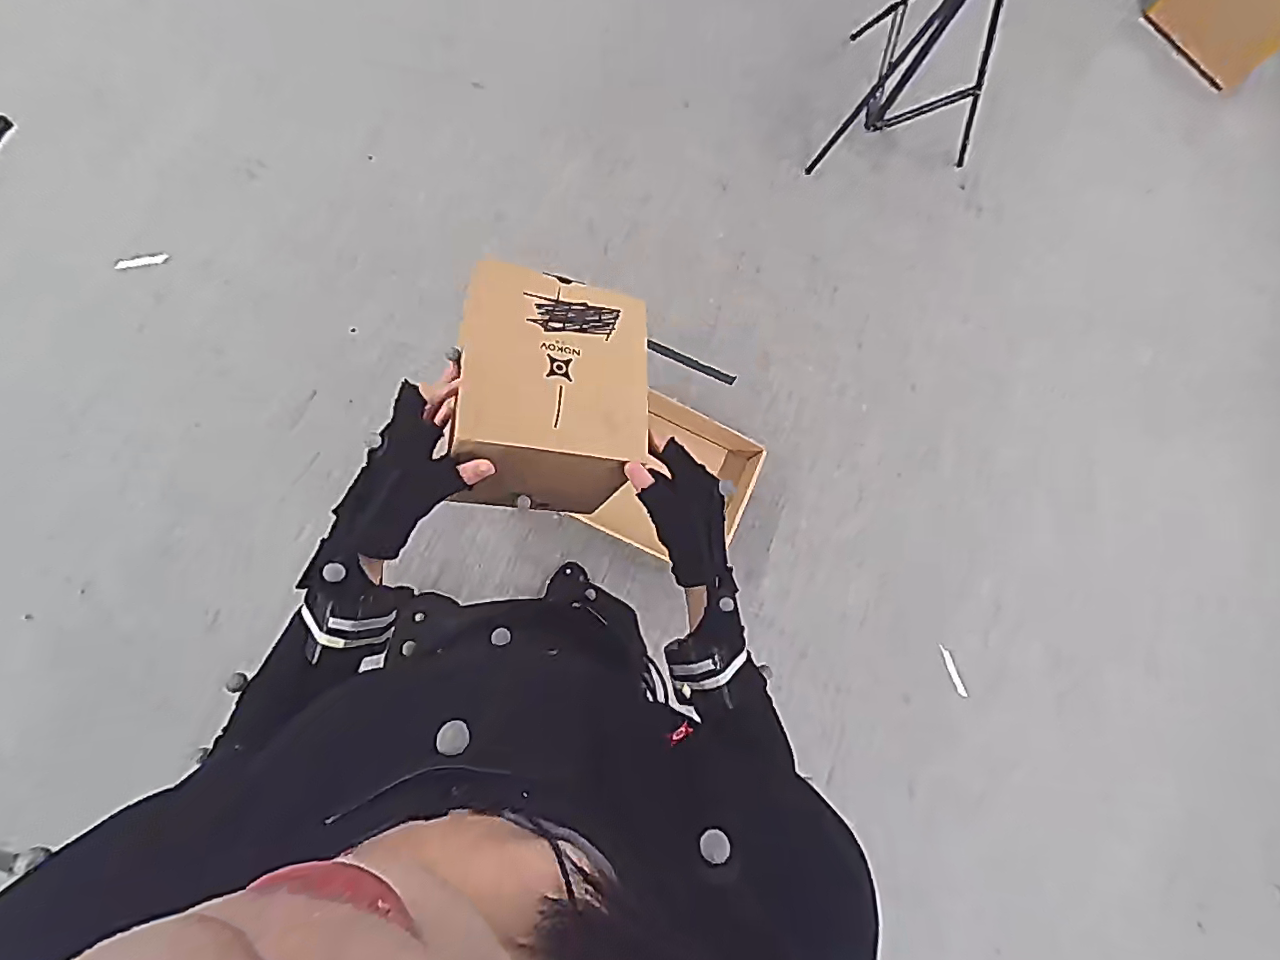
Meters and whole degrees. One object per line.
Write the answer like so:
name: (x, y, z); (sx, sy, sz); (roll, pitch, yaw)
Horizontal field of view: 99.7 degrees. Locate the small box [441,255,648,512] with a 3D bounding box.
small box: (-0.100, -0.080, 0.537); (0.168, 0.176, 0.179); (7, 69, -21)
